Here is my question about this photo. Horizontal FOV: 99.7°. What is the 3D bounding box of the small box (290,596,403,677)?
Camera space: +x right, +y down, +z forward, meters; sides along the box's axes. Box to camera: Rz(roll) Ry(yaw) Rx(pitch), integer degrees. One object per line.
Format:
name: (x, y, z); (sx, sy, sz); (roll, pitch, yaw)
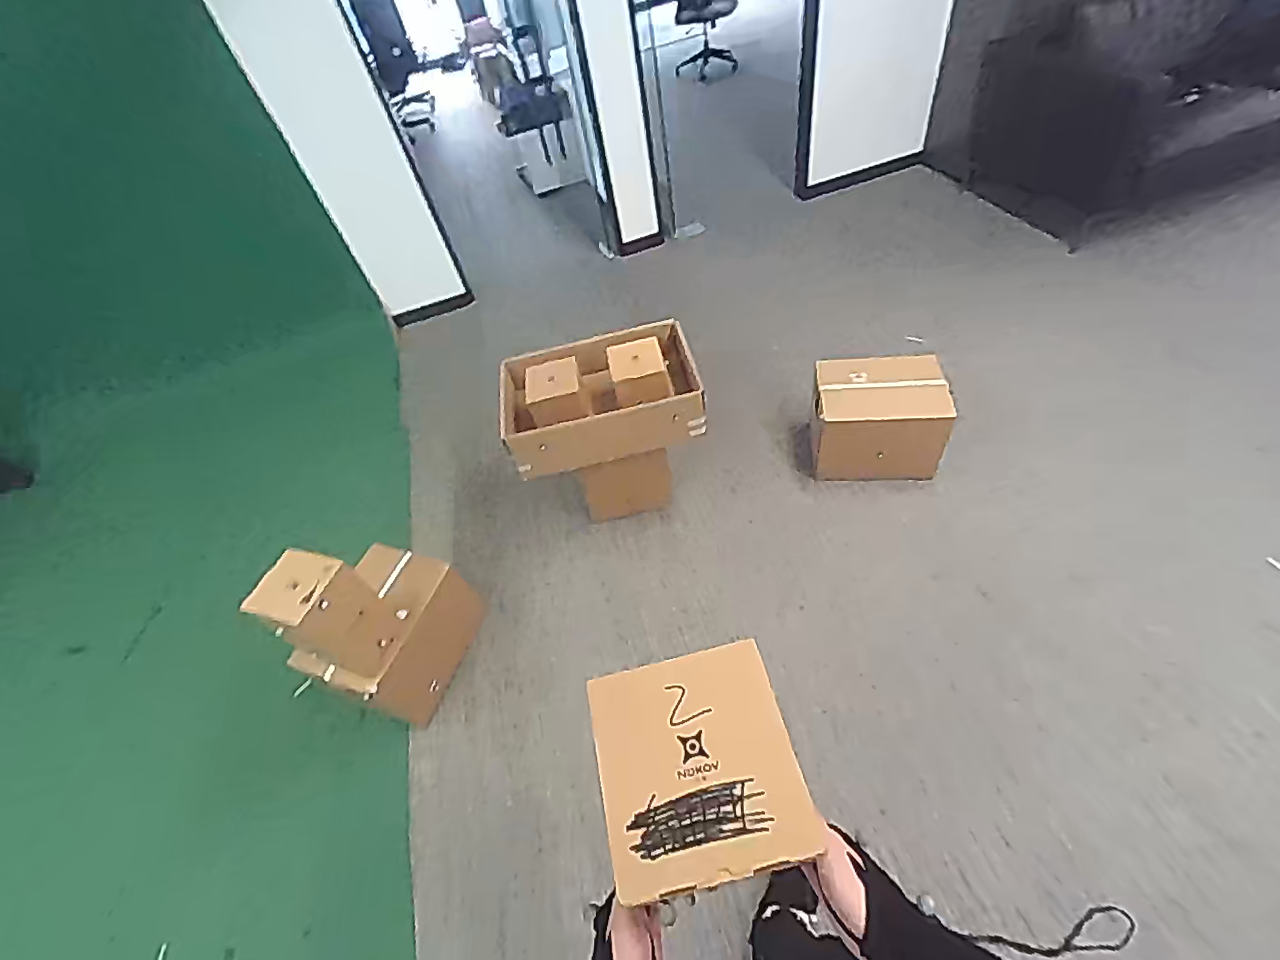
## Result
small box: (-0.768, 0.394, 1.417); (0.179, 0.176, 0.168); (10, 53, 17)

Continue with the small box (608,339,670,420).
small box: (-0.002, -0.321, 1.731); (0.168, 0.176, 0.179); (-12, 51, 1)

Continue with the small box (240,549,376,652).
small box: (-0.782, 0.290, 1.290); (0.179, 0.176, 0.168); (9, 52, 18)

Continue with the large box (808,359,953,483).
large box: (0.827, -0.201, 1.927); (0.408, 0.320, 0.320); (-1, 50, 12)

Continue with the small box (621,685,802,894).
small box: (0.083, 0.377, 0.656); (0.168, 0.176, 0.179); (-14, 52, -1)
